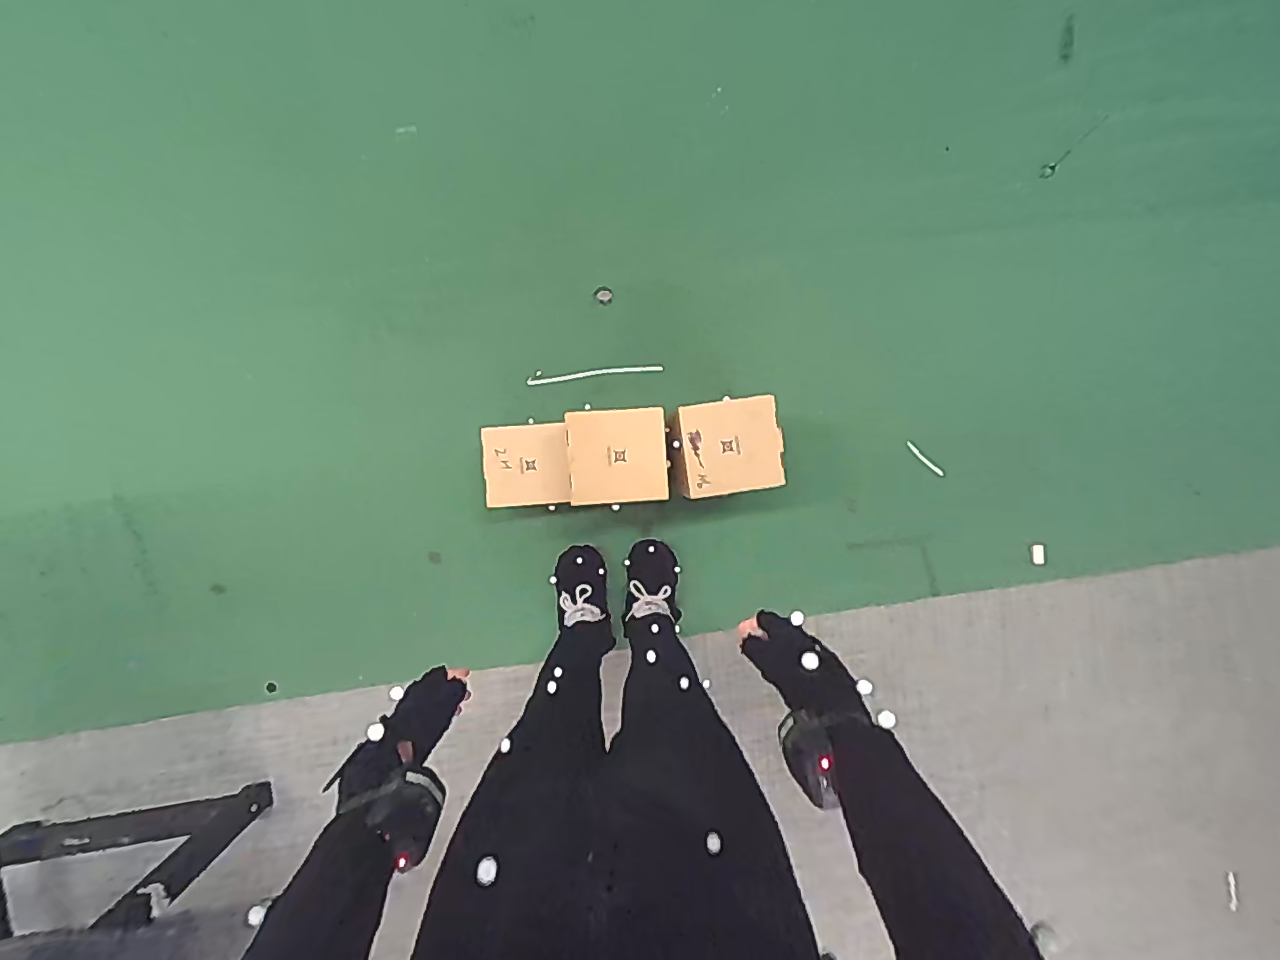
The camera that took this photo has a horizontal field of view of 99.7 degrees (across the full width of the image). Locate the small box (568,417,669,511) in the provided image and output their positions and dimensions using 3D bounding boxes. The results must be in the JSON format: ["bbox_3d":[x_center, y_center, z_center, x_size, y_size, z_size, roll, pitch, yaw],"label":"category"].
[{"bbox_3d":[-0.042,-0.034,1.033,0.179,0.176,0.168,-3,93,-2],"label":"small box"}]

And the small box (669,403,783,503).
[{"bbox_3d":[0.158,-0.052,1.042,0.179,0.176,0.168,-7,92,-2],"label":"small box"}]
